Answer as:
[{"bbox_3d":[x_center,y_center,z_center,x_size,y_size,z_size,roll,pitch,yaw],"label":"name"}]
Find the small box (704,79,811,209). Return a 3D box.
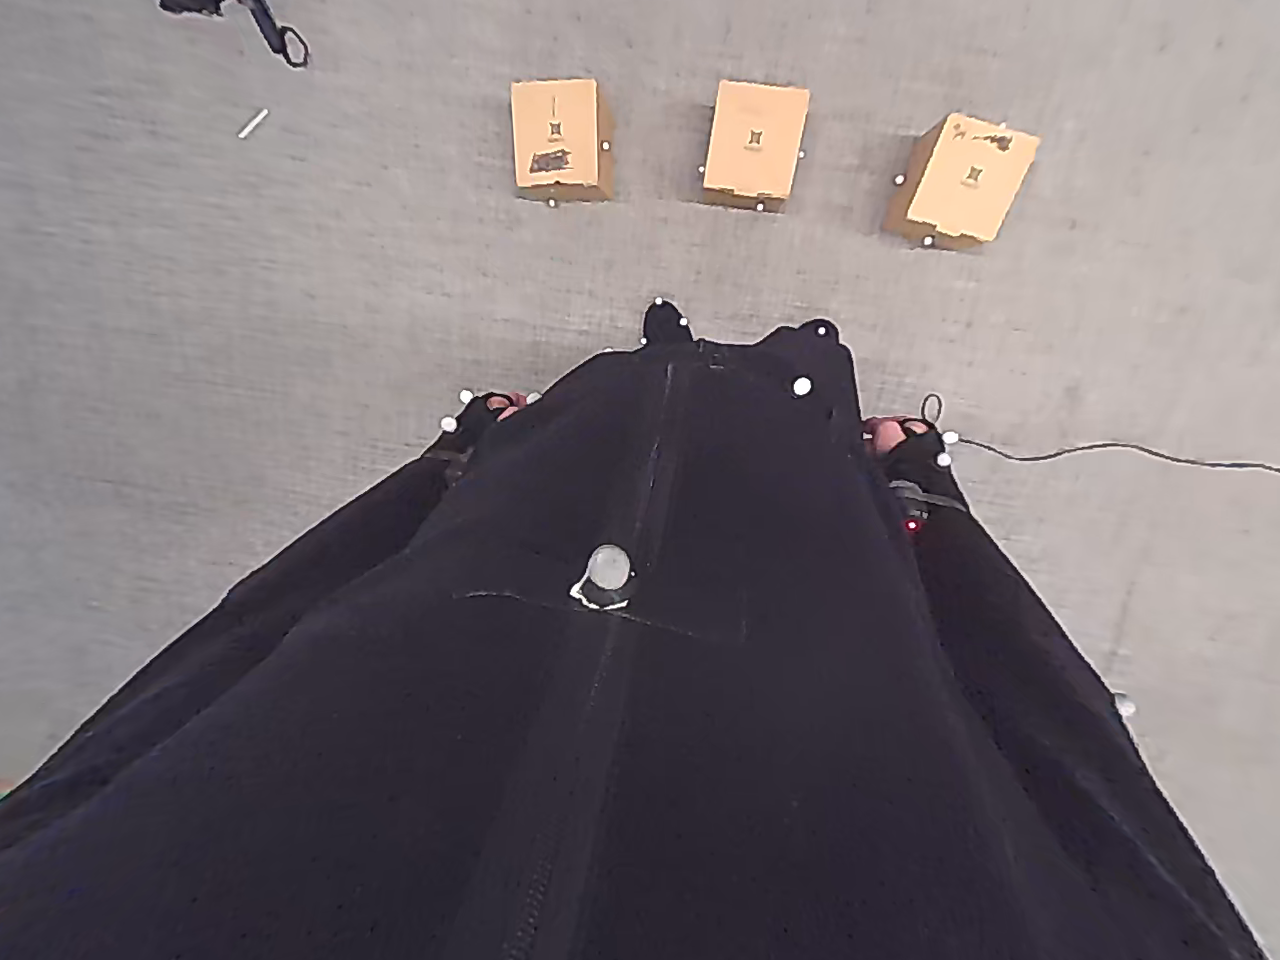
[{"bbox_3d":[0.222,-0.646,1.060,0.168,0.176,0.179,9,108,4],"label":"small box"}]

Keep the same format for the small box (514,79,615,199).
[{"bbox_3d":[-0.145,-0.679,1.099,0.168,0.176,0.179,2,108,7],"label":"small box"}]

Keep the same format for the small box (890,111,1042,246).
[{"bbox_3d":[0.602,-0.561,1.032,0.168,0.176,0.179,18,111,3],"label":"small box"}]
